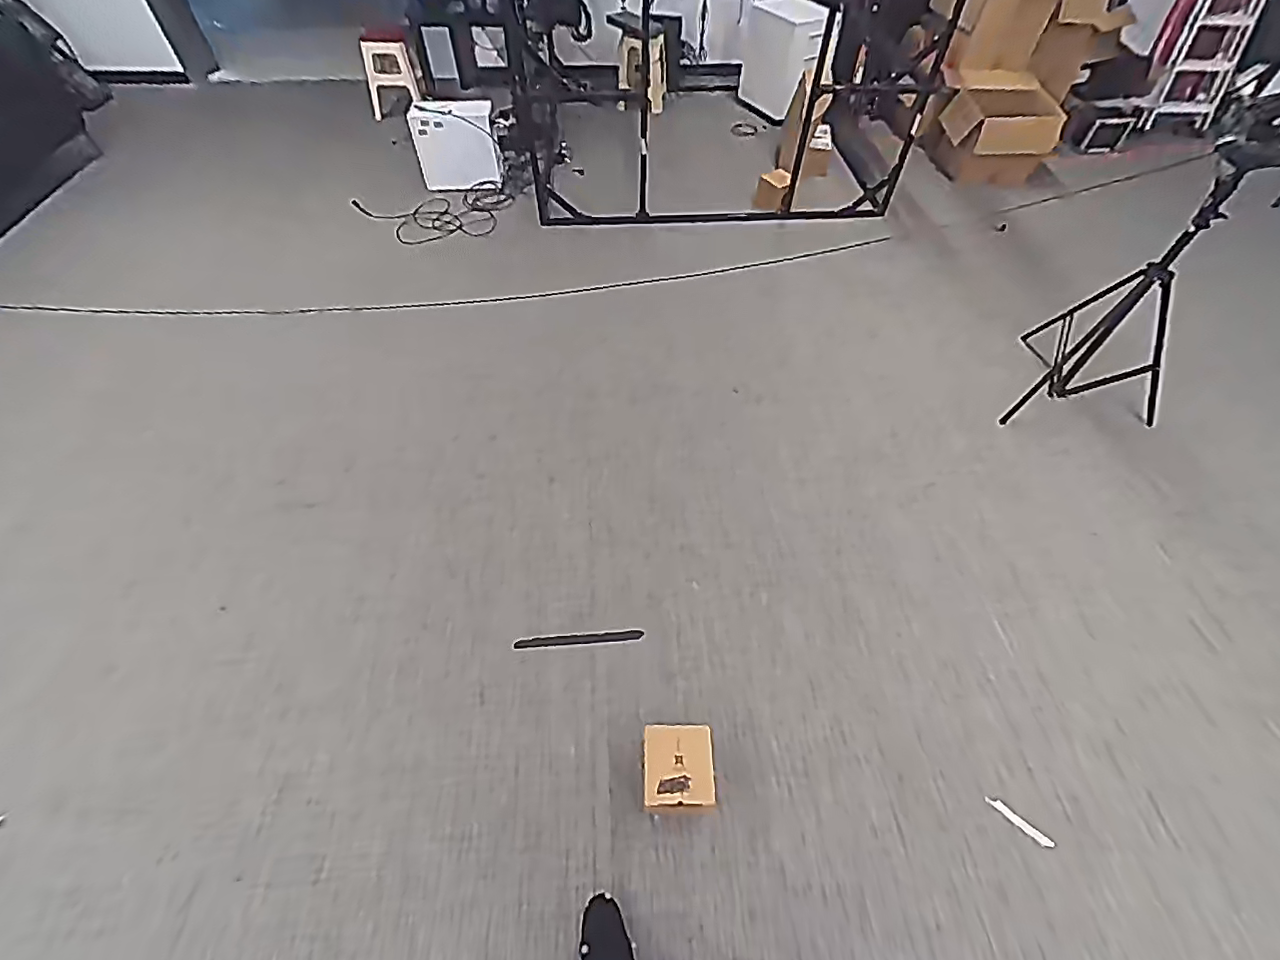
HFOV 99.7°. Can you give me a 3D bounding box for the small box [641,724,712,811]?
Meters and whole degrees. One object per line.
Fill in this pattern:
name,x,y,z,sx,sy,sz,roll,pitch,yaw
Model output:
small box,0.088,0.726,1.360,0.168,0.176,0.179,0,53,-1
